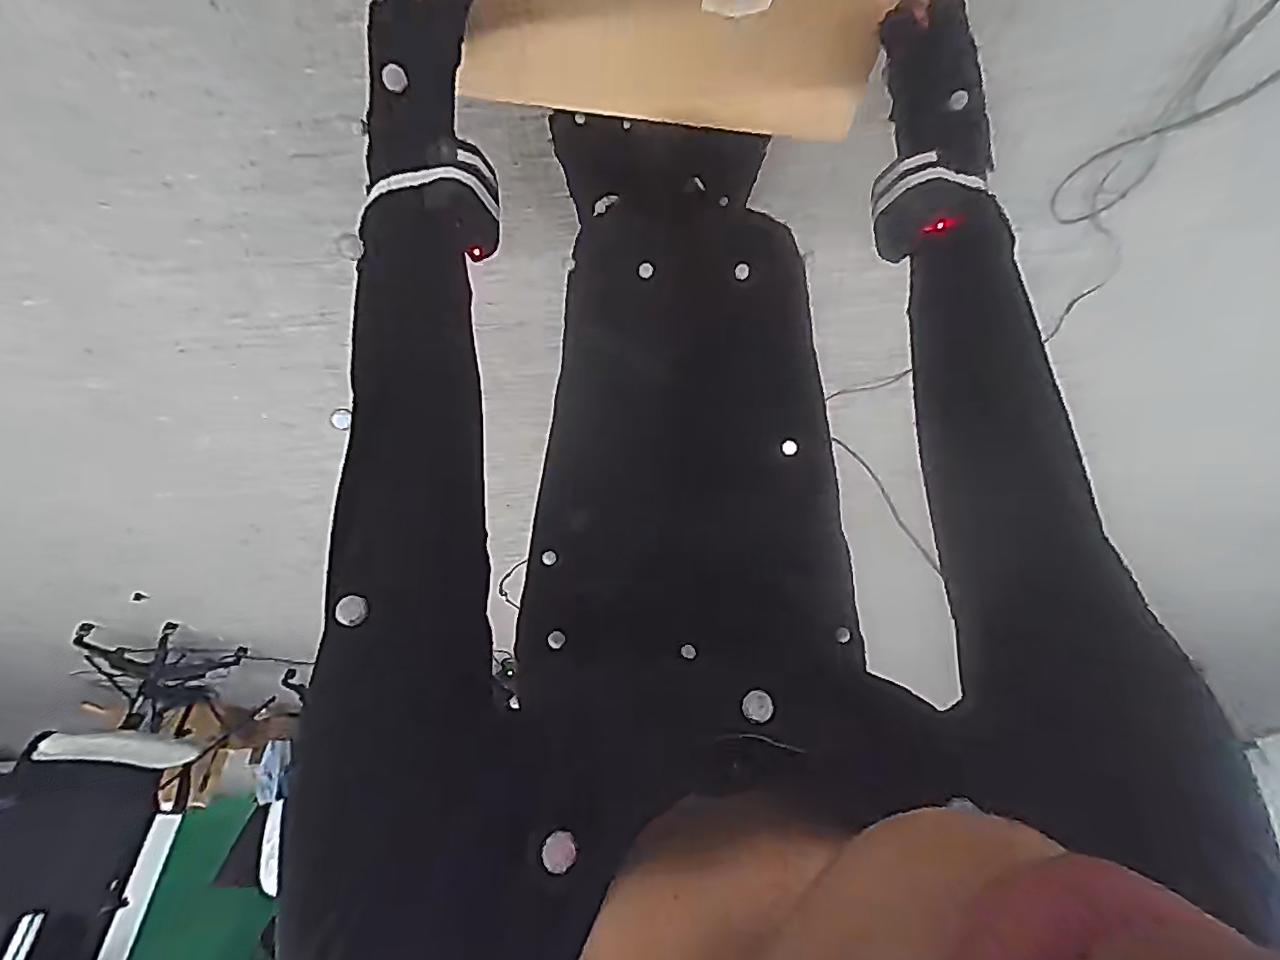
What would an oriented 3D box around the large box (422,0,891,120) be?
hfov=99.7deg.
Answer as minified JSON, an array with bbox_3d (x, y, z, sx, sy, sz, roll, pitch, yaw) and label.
[{"bbox_3d":[0.017,-0.570,0.485,0.408,0.320,0.320,2,143,-6],"label":"large box"}]
